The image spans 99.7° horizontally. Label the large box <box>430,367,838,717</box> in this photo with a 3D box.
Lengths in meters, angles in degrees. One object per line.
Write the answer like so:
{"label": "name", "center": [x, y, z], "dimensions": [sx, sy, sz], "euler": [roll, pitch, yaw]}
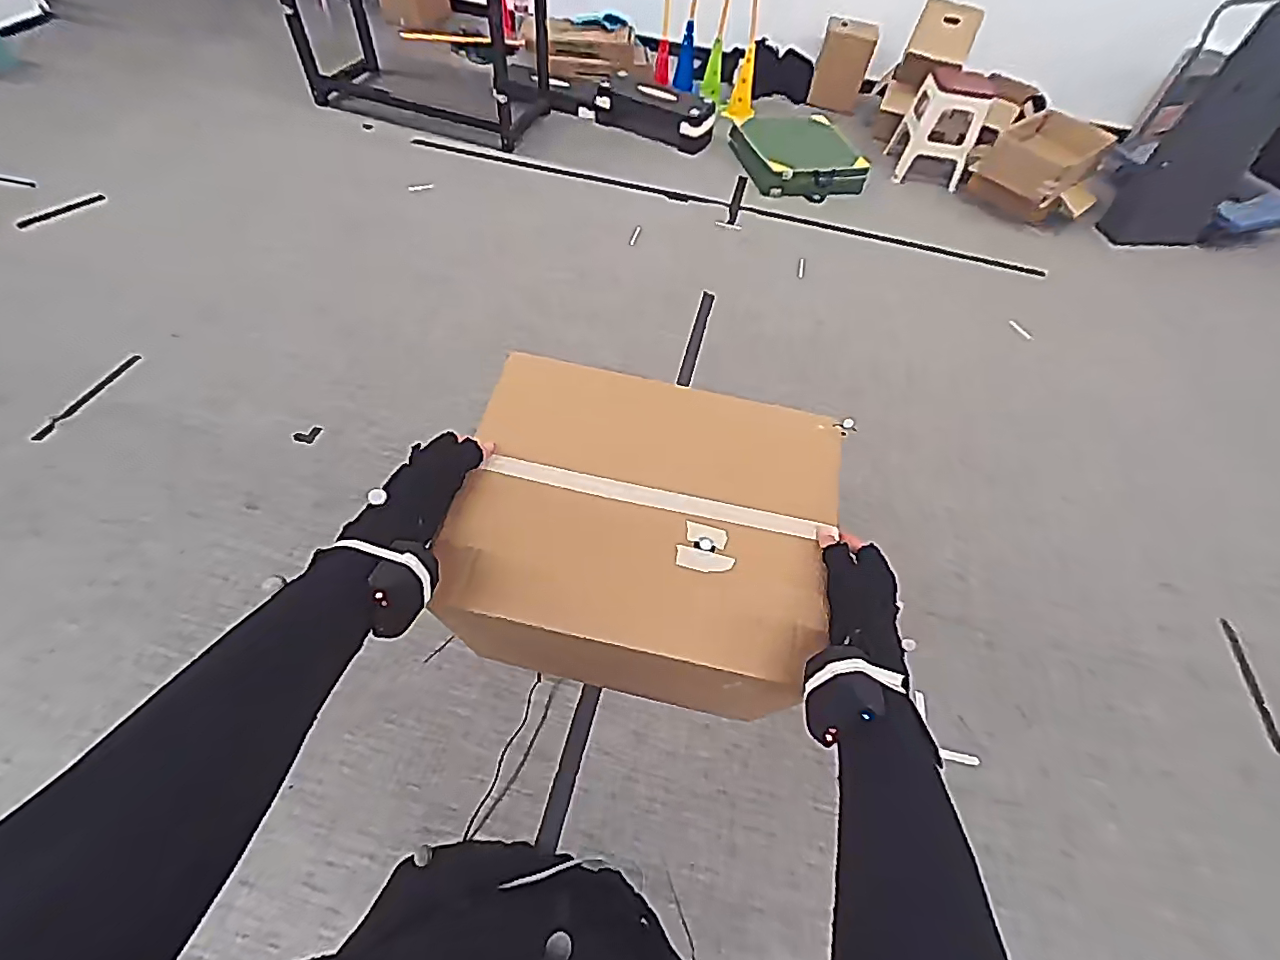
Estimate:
{"label": "large box", "center": [0.004, 0.099, 0.720], "dimensions": [0.408, 0.320, 0.320], "euler": [13, 62, 3]}
